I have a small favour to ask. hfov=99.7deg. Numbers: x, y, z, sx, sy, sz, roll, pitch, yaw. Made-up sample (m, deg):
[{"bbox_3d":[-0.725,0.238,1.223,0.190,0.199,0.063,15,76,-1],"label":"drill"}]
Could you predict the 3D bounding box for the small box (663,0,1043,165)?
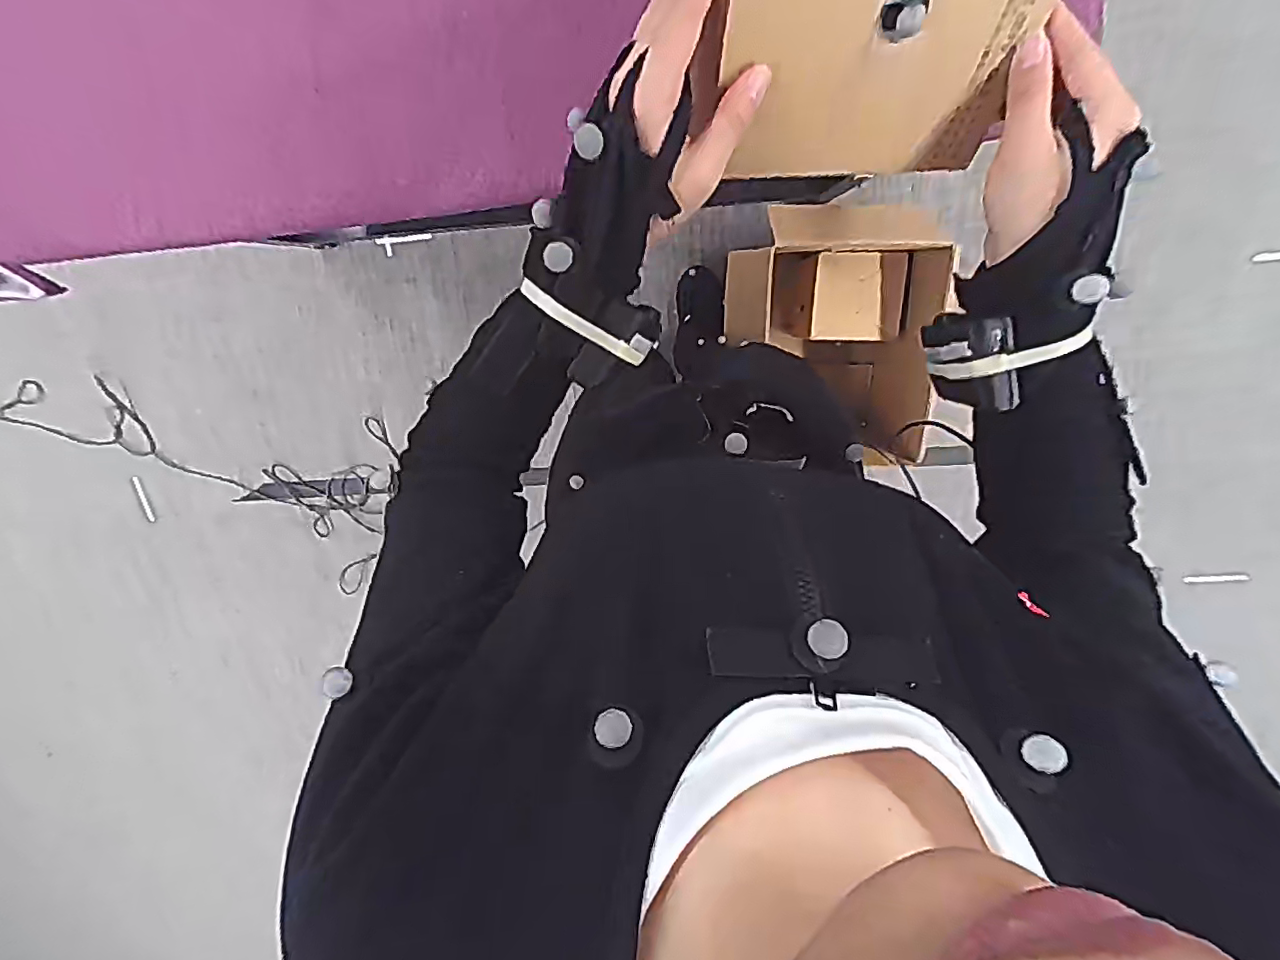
[{"bbox_3d":[0.115,-0.304,0.296,0.176,0.179,0.168,-5,147,-8],"label":"small box"}]
